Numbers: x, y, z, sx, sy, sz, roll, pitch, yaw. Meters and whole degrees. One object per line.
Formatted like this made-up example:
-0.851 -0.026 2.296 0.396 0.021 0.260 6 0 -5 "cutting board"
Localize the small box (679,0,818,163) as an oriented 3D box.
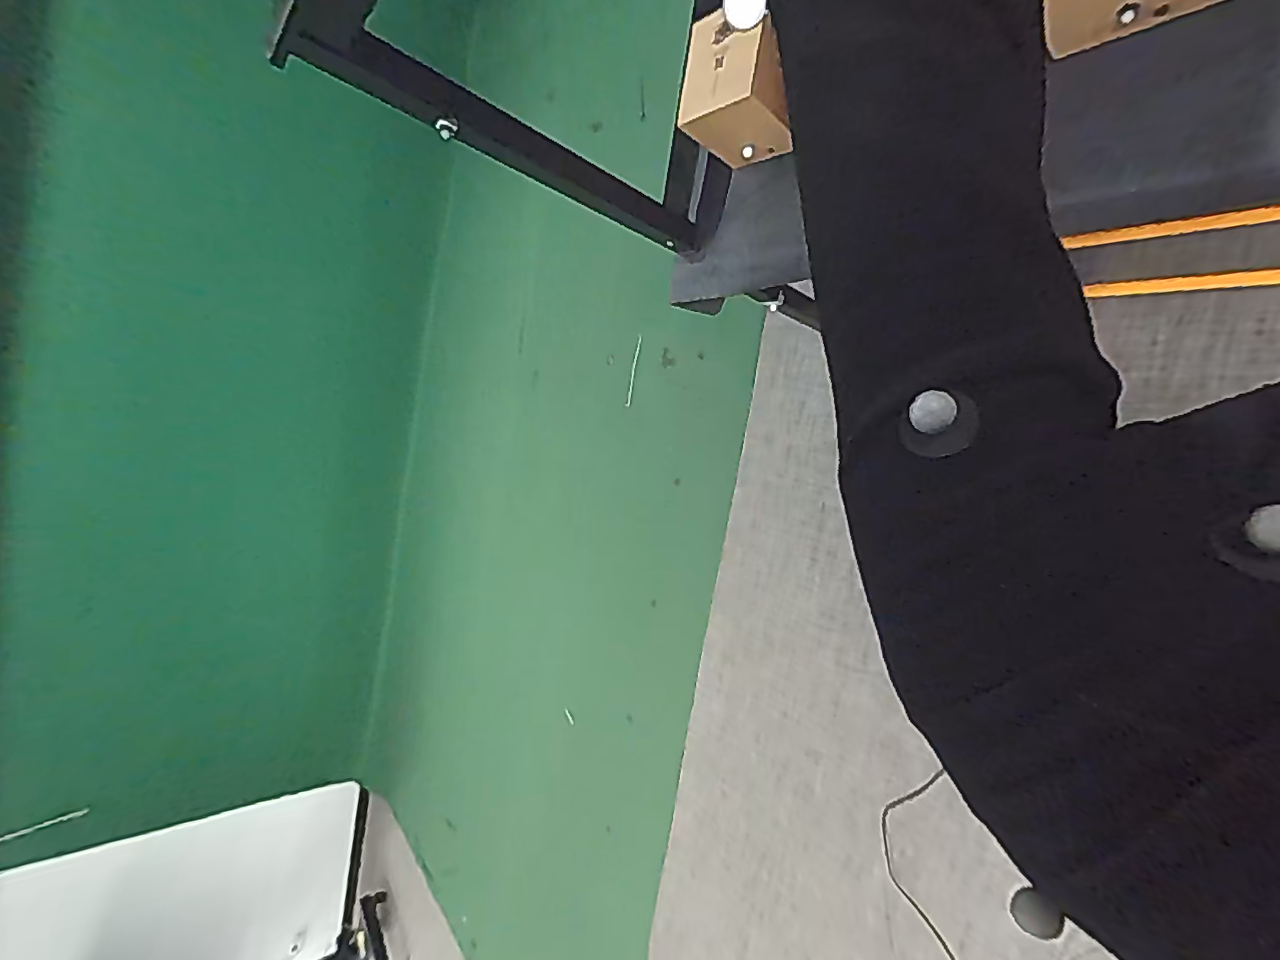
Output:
0.195 -0.698 0.946 0.168 0.176 0.179 15 97 47 "small box"
